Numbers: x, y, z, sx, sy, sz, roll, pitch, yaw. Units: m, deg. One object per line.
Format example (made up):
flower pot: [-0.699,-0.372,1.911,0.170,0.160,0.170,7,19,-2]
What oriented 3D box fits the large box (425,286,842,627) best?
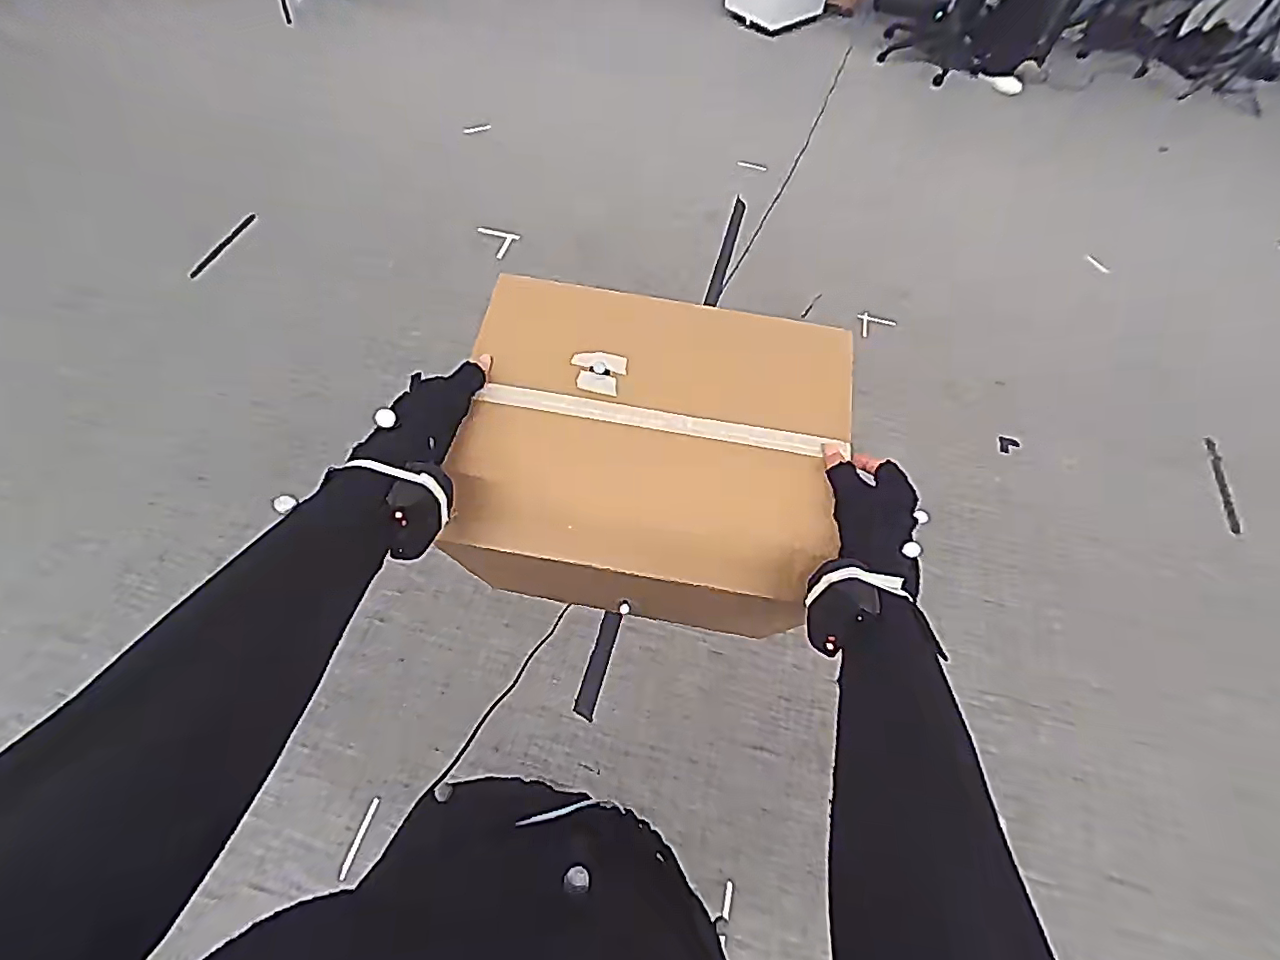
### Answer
large box: [0.010,-0.004,0.707,0.408,0.320,0.320,10,68,3]
